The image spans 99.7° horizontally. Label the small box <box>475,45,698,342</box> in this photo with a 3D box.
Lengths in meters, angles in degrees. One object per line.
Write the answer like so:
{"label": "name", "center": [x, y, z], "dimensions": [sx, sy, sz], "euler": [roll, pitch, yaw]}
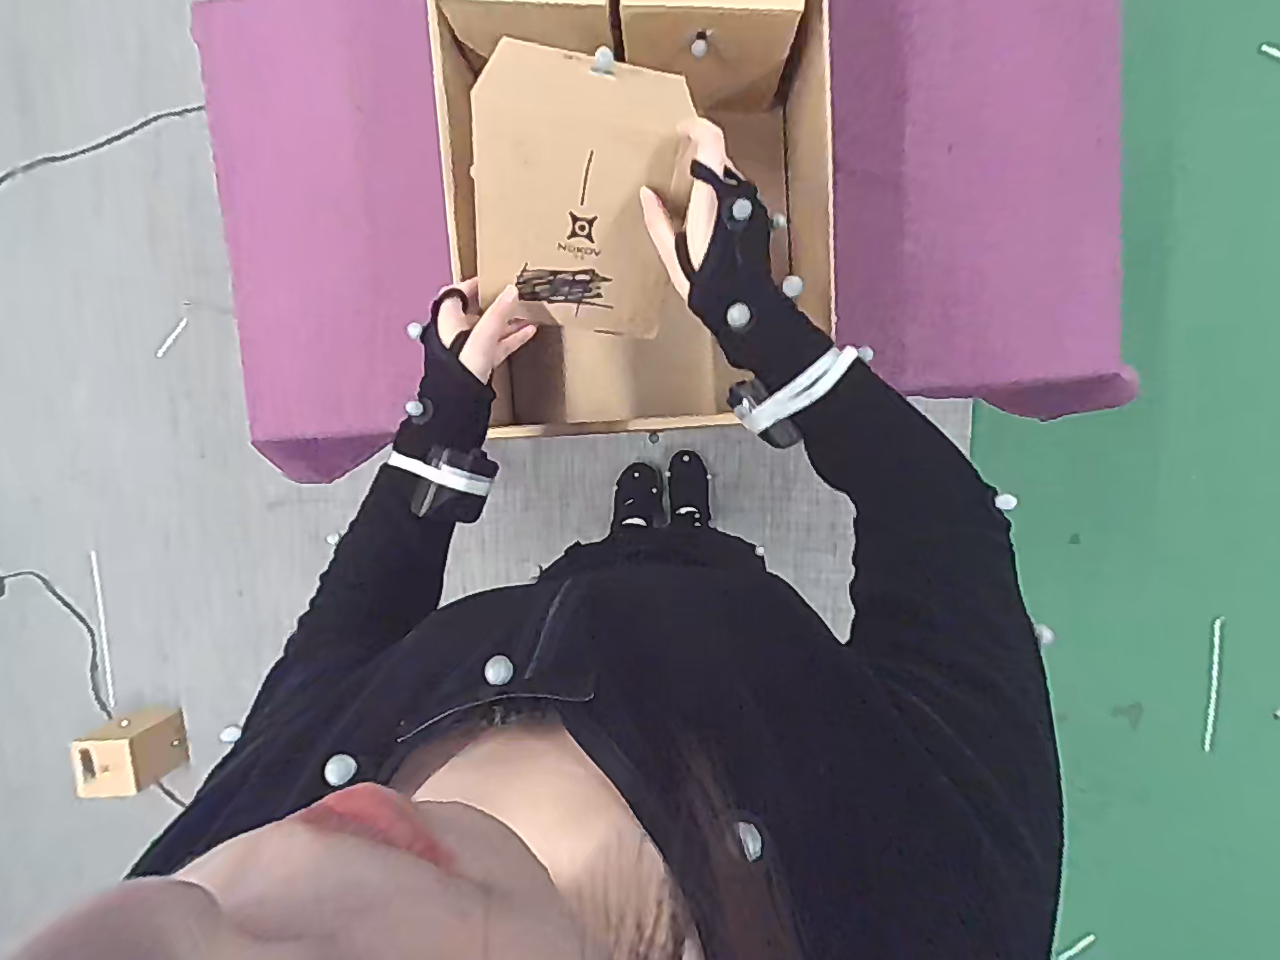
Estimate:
{"label": "small box", "center": [-0.051, -0.259, 0.499], "dimensions": [0.168, 0.176, 0.179], "euler": [6, 139, -9]}
